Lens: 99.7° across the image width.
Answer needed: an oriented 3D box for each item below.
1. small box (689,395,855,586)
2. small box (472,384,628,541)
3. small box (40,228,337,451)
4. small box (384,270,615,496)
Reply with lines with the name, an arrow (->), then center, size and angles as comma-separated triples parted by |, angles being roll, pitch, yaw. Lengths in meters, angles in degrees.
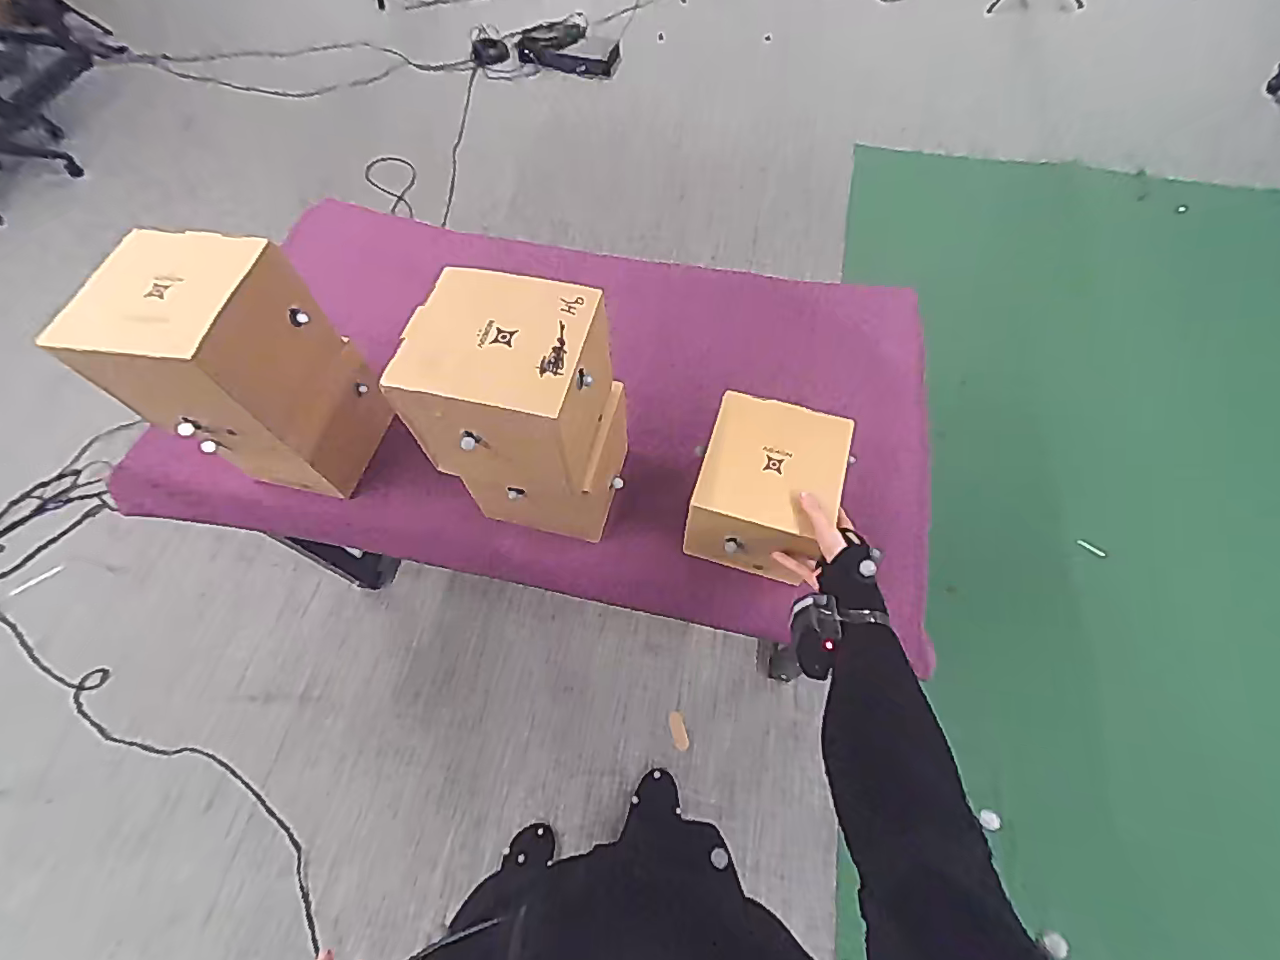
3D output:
small box -> 0.164, 0.021, 0.713 | 0.168, 0.176, 0.179 | 15, 63, 9
small box -> -0.121, -0.032, 0.743 | 0.179, 0.176, 0.168 | 13, 63, 6
small box -> -0.489, -0.157, 0.627 | 0.168, 0.176, 0.179 | 7, 62, 4
small box -> -0.134, -0.099, 0.593 | 0.179, 0.176, 0.168 | 11, 63, 7
